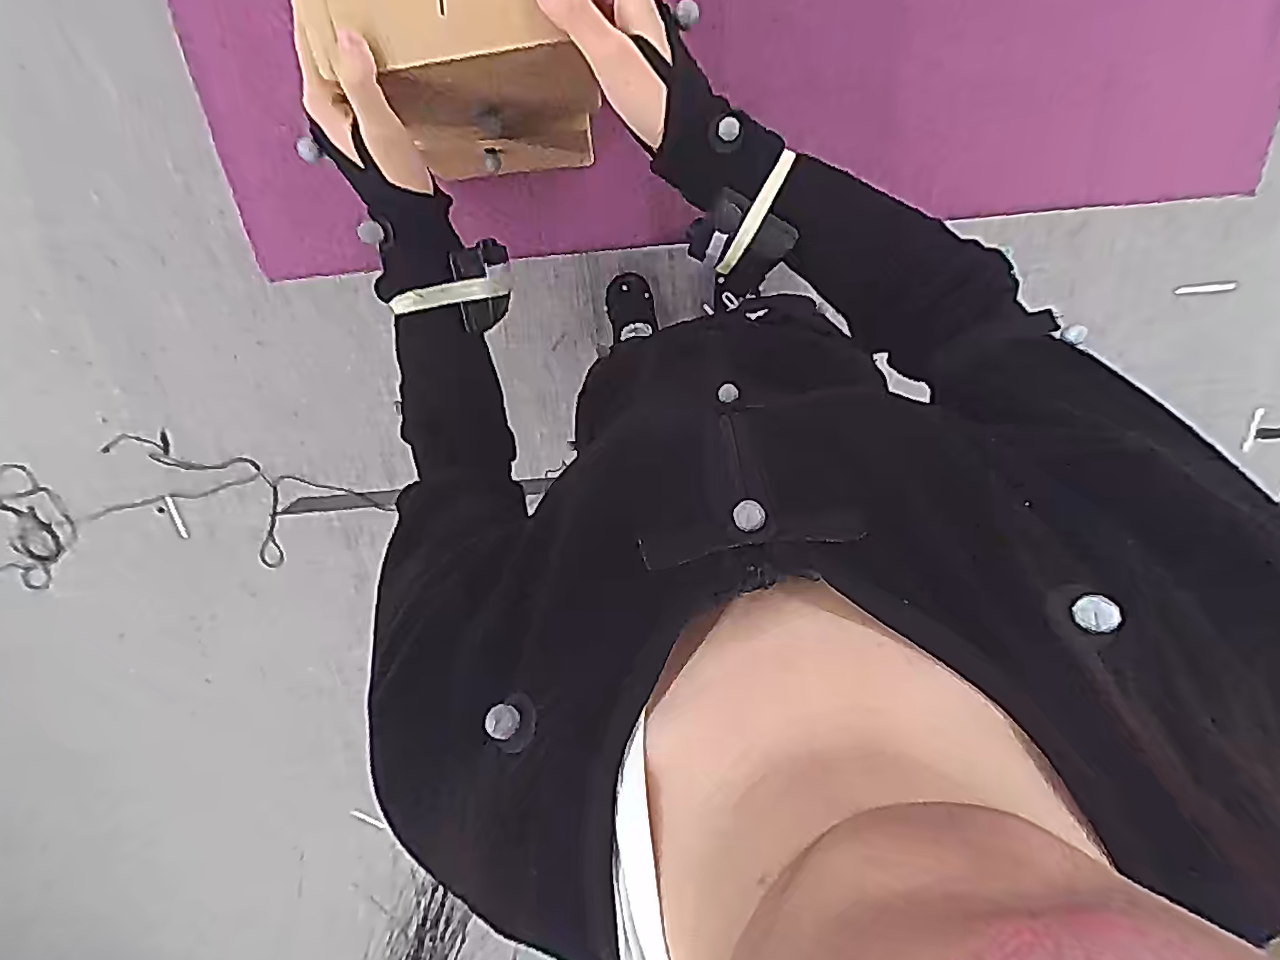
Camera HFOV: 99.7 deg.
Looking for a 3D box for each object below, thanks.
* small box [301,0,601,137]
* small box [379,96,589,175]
[{"bbox_3d":[-0.121,-0.356,0.359,0.168,0.176,0.179,-9,113,1],"label":"small box"},{"bbox_3d":[-0.144,-0.404,0.520,0.179,0.176,0.168,-6,112,1],"label":"small box"}]
